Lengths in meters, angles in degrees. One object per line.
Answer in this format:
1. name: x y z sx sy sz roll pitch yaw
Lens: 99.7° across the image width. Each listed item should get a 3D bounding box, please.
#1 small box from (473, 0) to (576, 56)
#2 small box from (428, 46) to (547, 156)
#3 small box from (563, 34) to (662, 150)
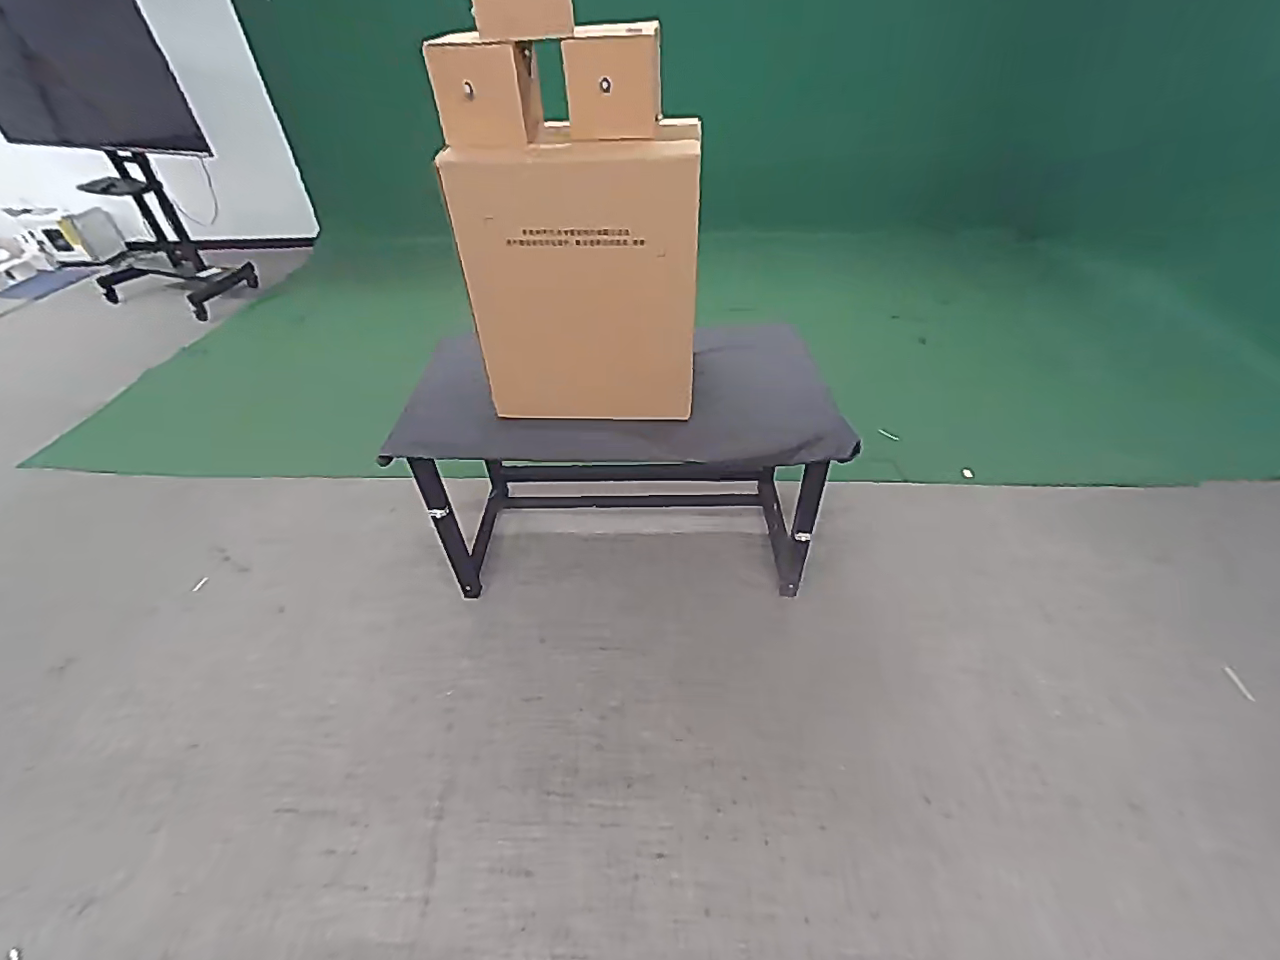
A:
1. small box: -0.214 -0.906 1.007 0.179 0.176 0.168 -6 43 -1
2. small box: -0.305 -0.787 1.124 0.179 0.176 0.168 2 45 6
3. small box: -0.048 -0.799 1.118 0.179 0.176 0.168 2 46 6
